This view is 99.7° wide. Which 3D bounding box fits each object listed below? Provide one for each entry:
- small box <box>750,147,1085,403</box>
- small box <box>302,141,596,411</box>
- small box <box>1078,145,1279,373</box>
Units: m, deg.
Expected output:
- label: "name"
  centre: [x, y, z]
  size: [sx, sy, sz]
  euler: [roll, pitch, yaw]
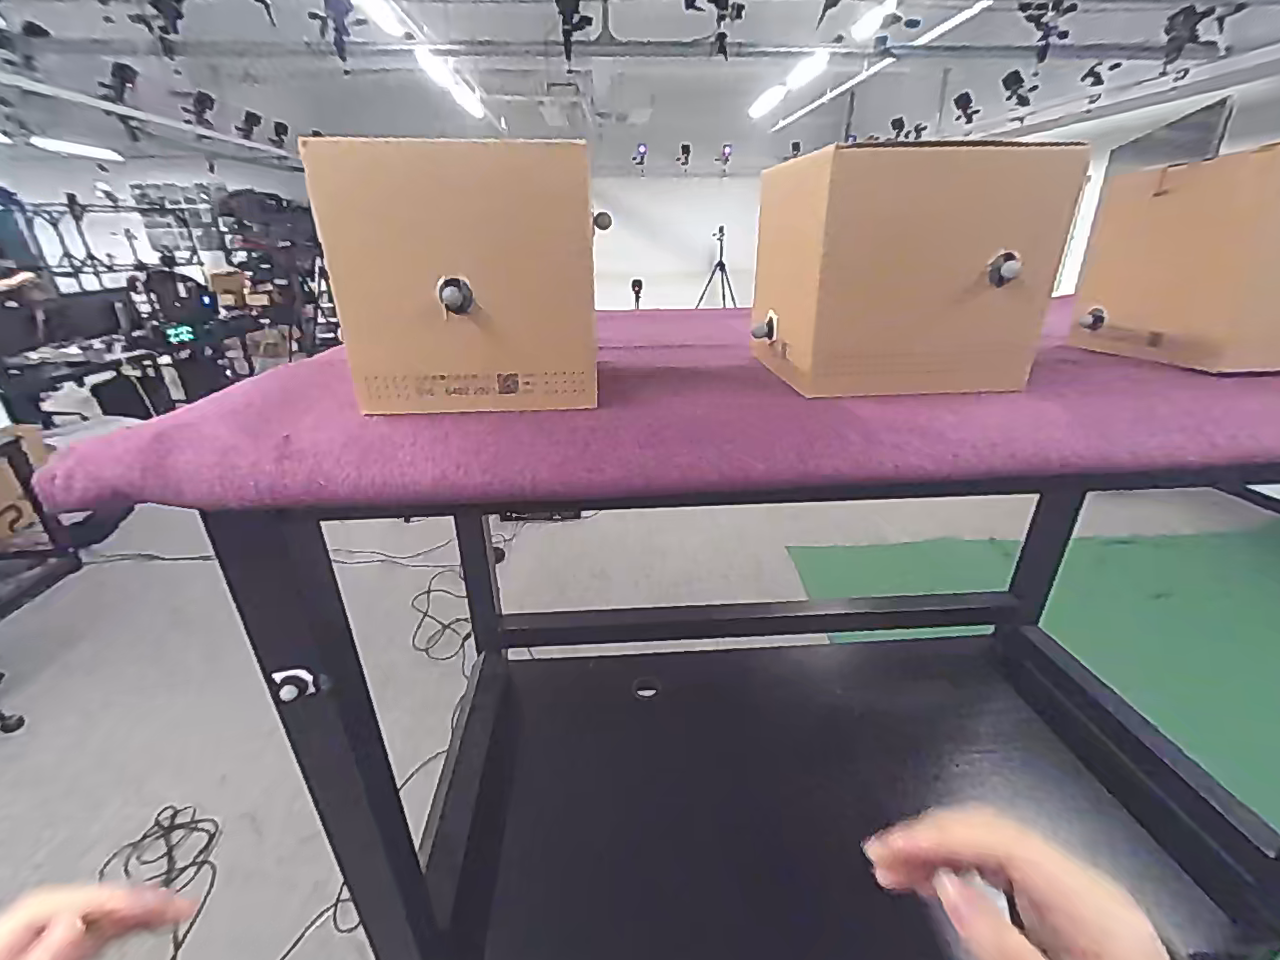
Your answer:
- label: "small box"
  centre: [0.200, -0.168, 0.451]
  size: [0.179, 0.176, 0.168]
  euler: [-3, 24, -4]
- label: "small box"
  centre: [-0.120, -0.156, 0.424]
  size: [0.168, 0.176, 0.179]
  euler: [-1, 25, -4]
- label: "small box"
  centre: [0.546, -0.194, 0.489]
  size: [0.179, 0.176, 0.168]
  euler: [-2, 23, -2]
